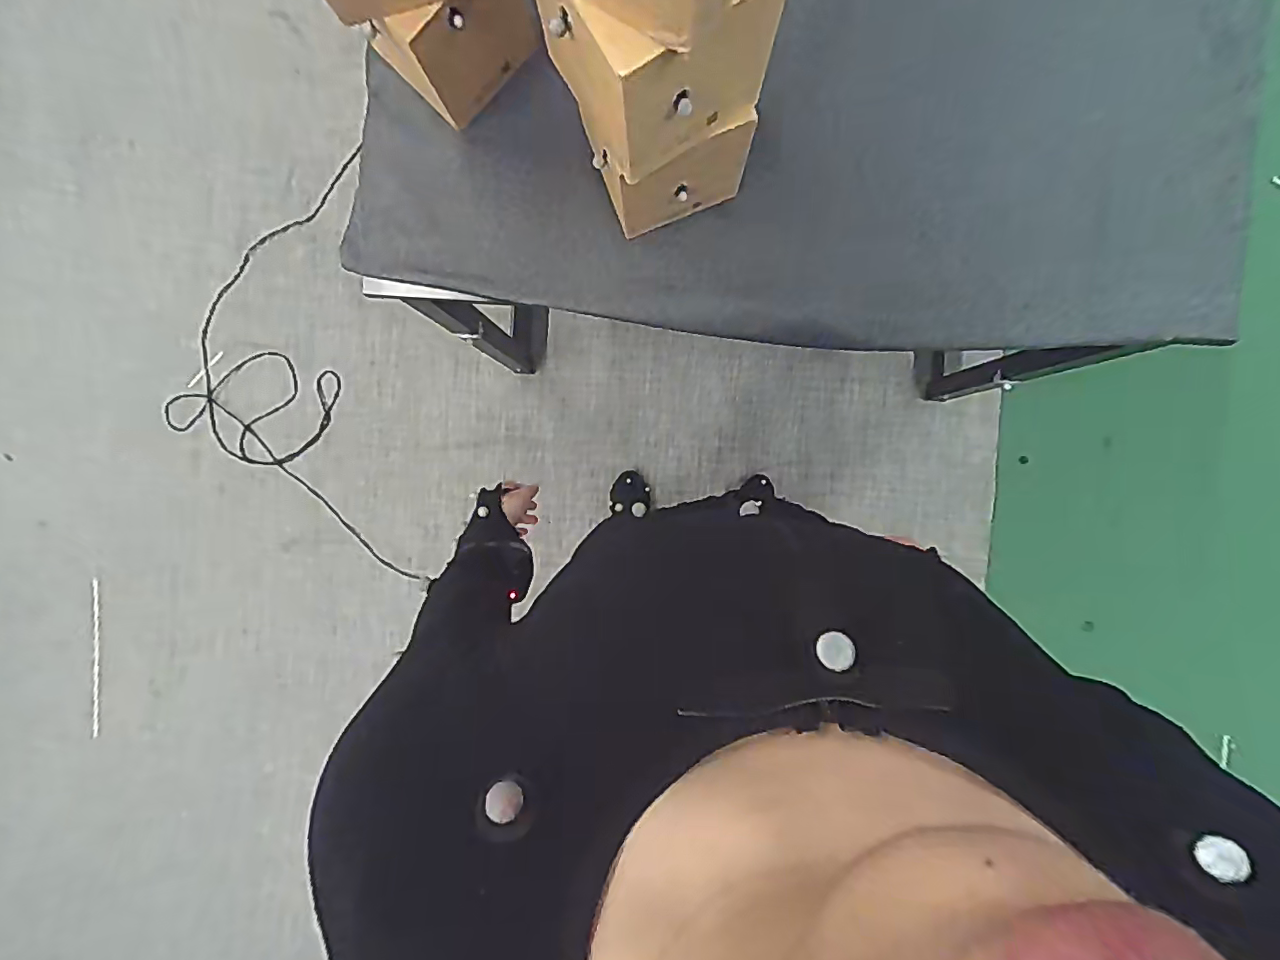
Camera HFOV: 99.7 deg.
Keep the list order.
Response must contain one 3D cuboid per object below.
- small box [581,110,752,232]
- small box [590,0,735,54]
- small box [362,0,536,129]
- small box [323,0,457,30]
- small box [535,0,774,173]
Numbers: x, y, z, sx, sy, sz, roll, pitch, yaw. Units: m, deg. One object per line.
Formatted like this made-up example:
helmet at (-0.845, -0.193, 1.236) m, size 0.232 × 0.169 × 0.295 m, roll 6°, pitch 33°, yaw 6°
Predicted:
small box at (0.024, -0.439, 0.674) m, size 0.168 × 0.176 × 0.179 m, roll -21°, pitch 89°, yaw 2°
small box at (0.007, -0.439, 0.350) m, size 0.179 × 0.176 × 0.168 m, roll 33°, pitch 93°, yaw 2°
small box at (-0.260, -0.602, 0.686) m, size 0.179 × 0.176 × 0.168 m, roll 45°, pitch 93°, yaw 1°
small box at (-0.268, -0.595, 0.521) m, size 0.179 × 0.176 × 0.168 m, roll -14°, pitch 91°, yaw 3°
small box at (0.011, -0.431, 0.512) m, size 0.168 × 0.176 × 0.179 m, roll -32°, pitch 89°, yaw 3°
